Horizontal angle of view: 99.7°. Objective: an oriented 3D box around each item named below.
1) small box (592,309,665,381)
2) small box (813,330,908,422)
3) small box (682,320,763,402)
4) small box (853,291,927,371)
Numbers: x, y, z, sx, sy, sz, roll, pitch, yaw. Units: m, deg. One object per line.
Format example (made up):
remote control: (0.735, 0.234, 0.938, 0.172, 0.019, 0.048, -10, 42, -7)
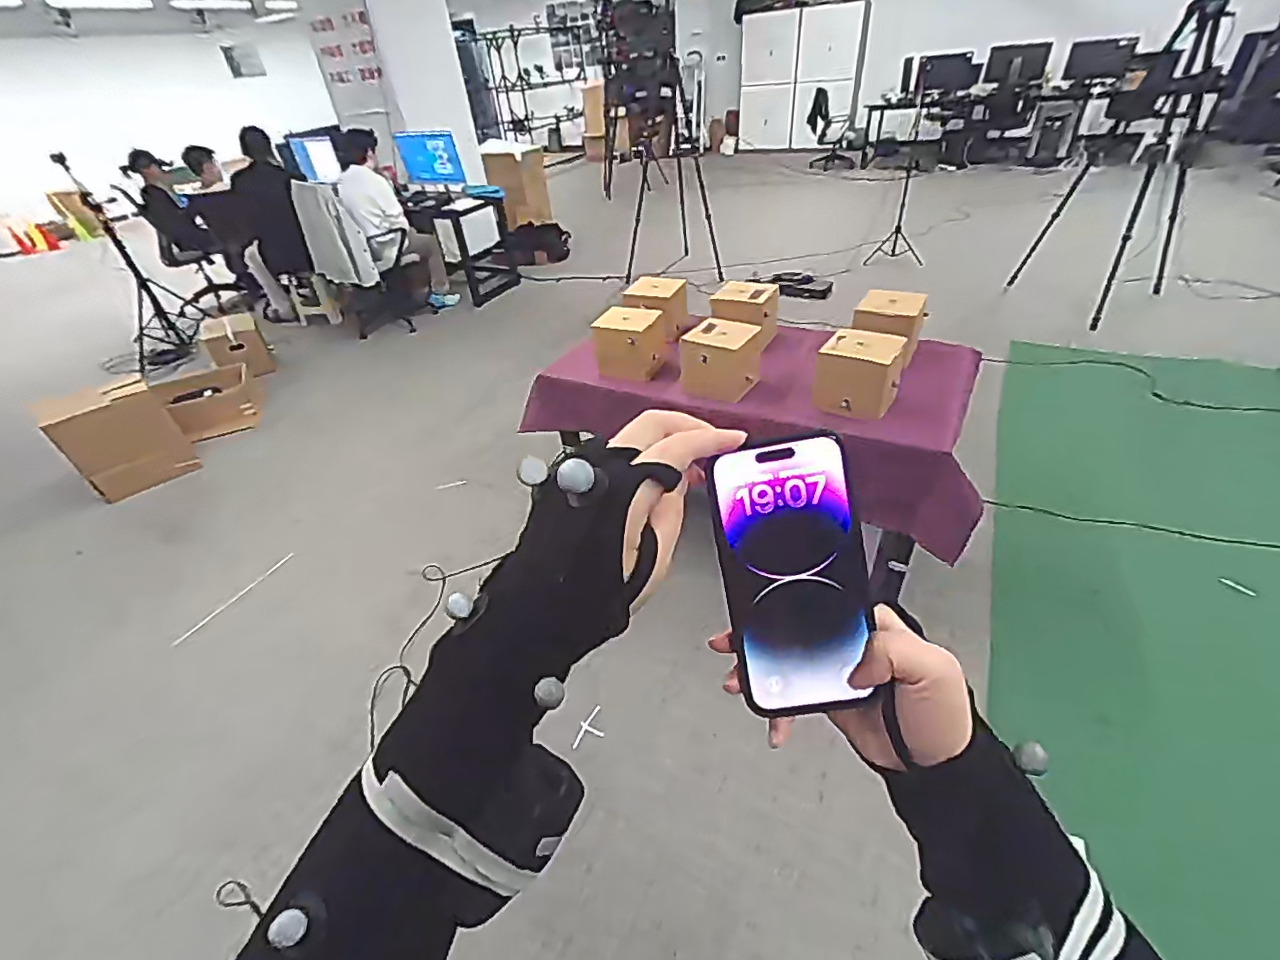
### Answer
small box: (-0.030, -0.425, 1.700, 0.179, 0.176, 0.168, 12, 41, 20)
small box: (0.575, -0.273, 1.423, 0.179, 0.176, 0.168, 21, 45, 30)
small box: (0.236, -0.342, 1.557, 0.179, 0.176, 0.168, 21, 45, 29)
small box: (0.740, -0.449, 1.624, 0.168, 0.176, 0.179, 18, 44, 28)
